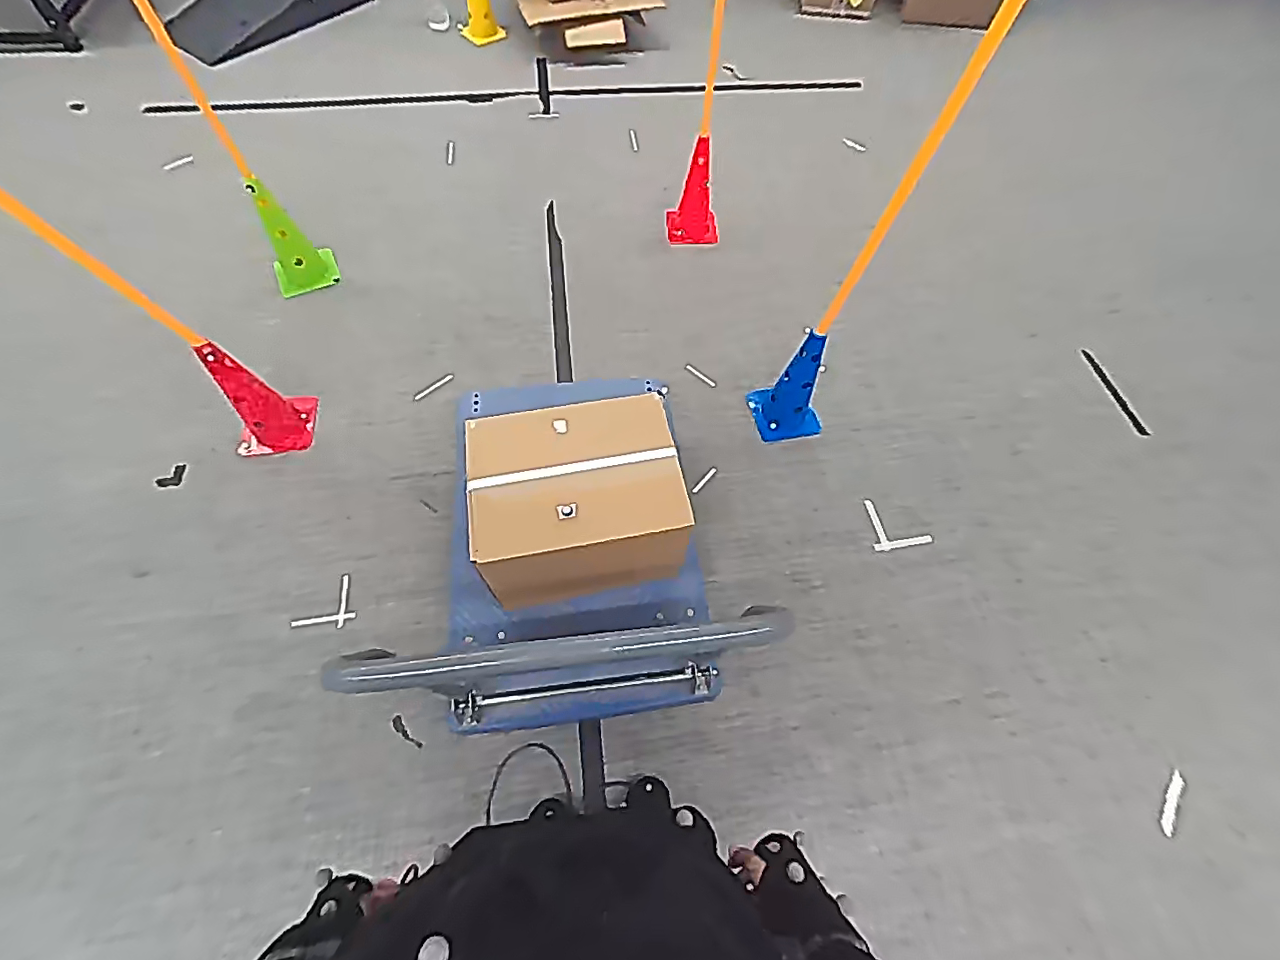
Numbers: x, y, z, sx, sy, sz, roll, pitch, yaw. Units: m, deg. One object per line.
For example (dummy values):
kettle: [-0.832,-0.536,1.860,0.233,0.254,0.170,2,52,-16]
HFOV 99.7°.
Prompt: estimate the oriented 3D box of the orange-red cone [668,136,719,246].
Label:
orange-red cone: [0.218,-1.077,1.994,0.199,0.360,0.198,0,62,-3]

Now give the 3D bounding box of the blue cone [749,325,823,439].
blue cone: [0.466,-0.298,1.591,0.193,0.380,0.192,-9,61,-8]
